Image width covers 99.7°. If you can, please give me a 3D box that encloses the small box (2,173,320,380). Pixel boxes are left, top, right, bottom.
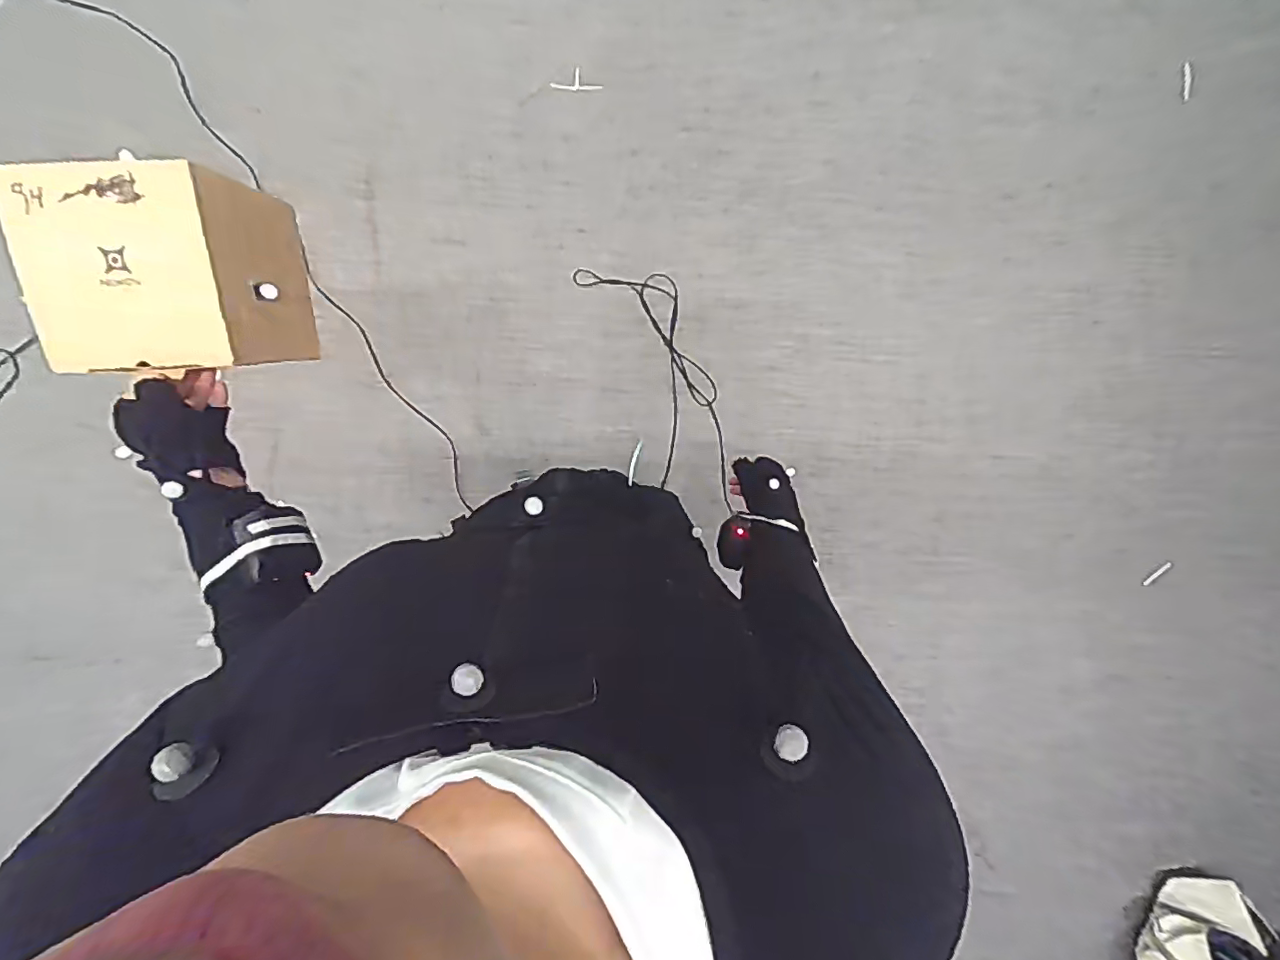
[{"bbox_3d":[-0.465,-0.204,0.565,0.168,0.176,0.179,-3,107,-5],"label":"small box"}]
